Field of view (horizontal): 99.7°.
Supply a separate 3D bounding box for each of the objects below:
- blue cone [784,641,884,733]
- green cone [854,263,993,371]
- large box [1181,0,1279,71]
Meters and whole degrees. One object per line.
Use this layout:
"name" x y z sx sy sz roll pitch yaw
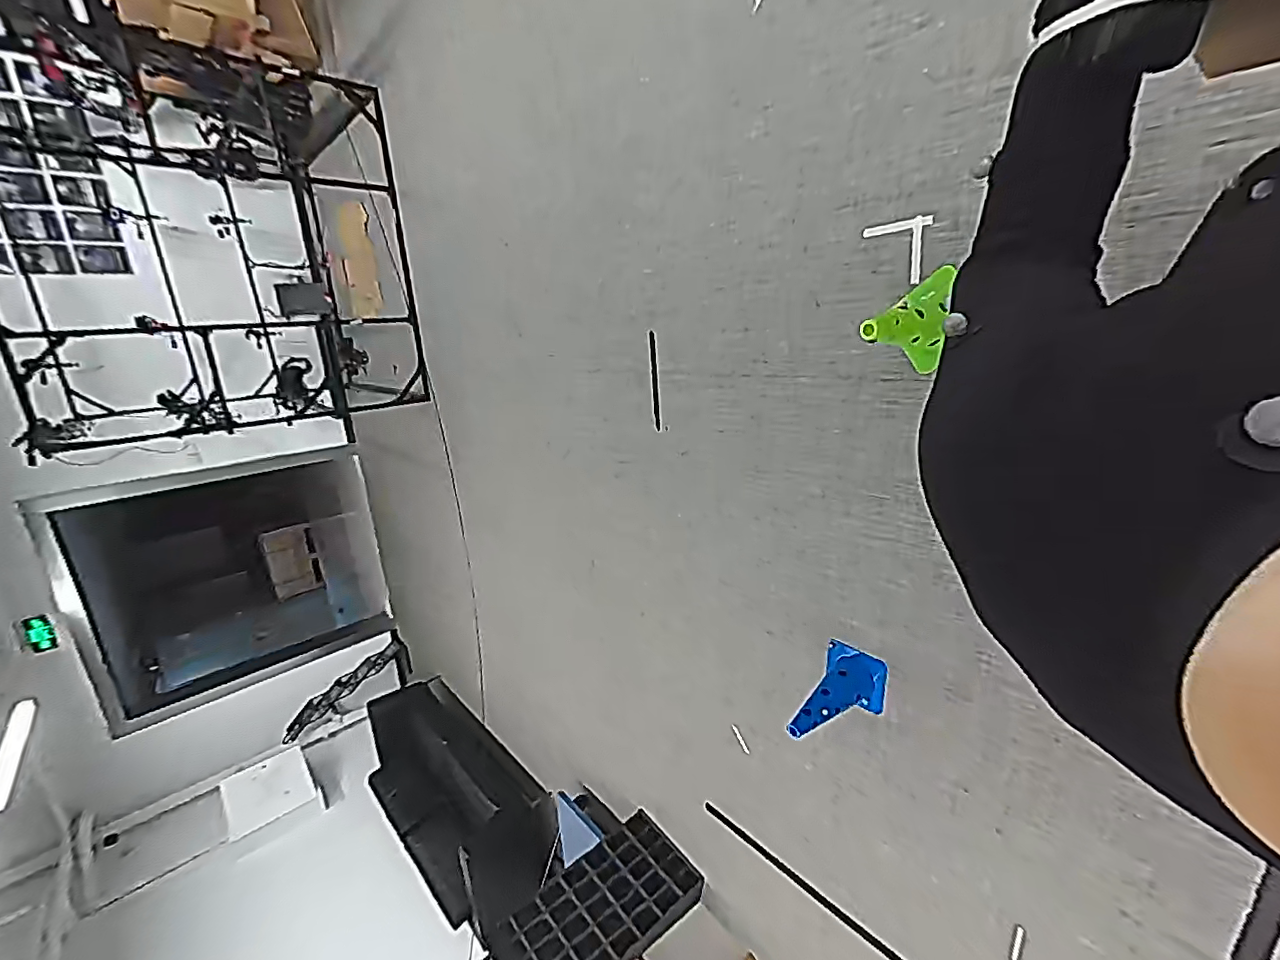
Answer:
"blue cone" 0.583 0.681 1.684 0.192 0.380 0.193 20 118 46
"green cone" 0.607 -0.361 1.243 0.202 0.368 0.200 -43 69 50
"large box" 0.552 -0.454 0.239 0.408 0.320 0.320 14 119 45
